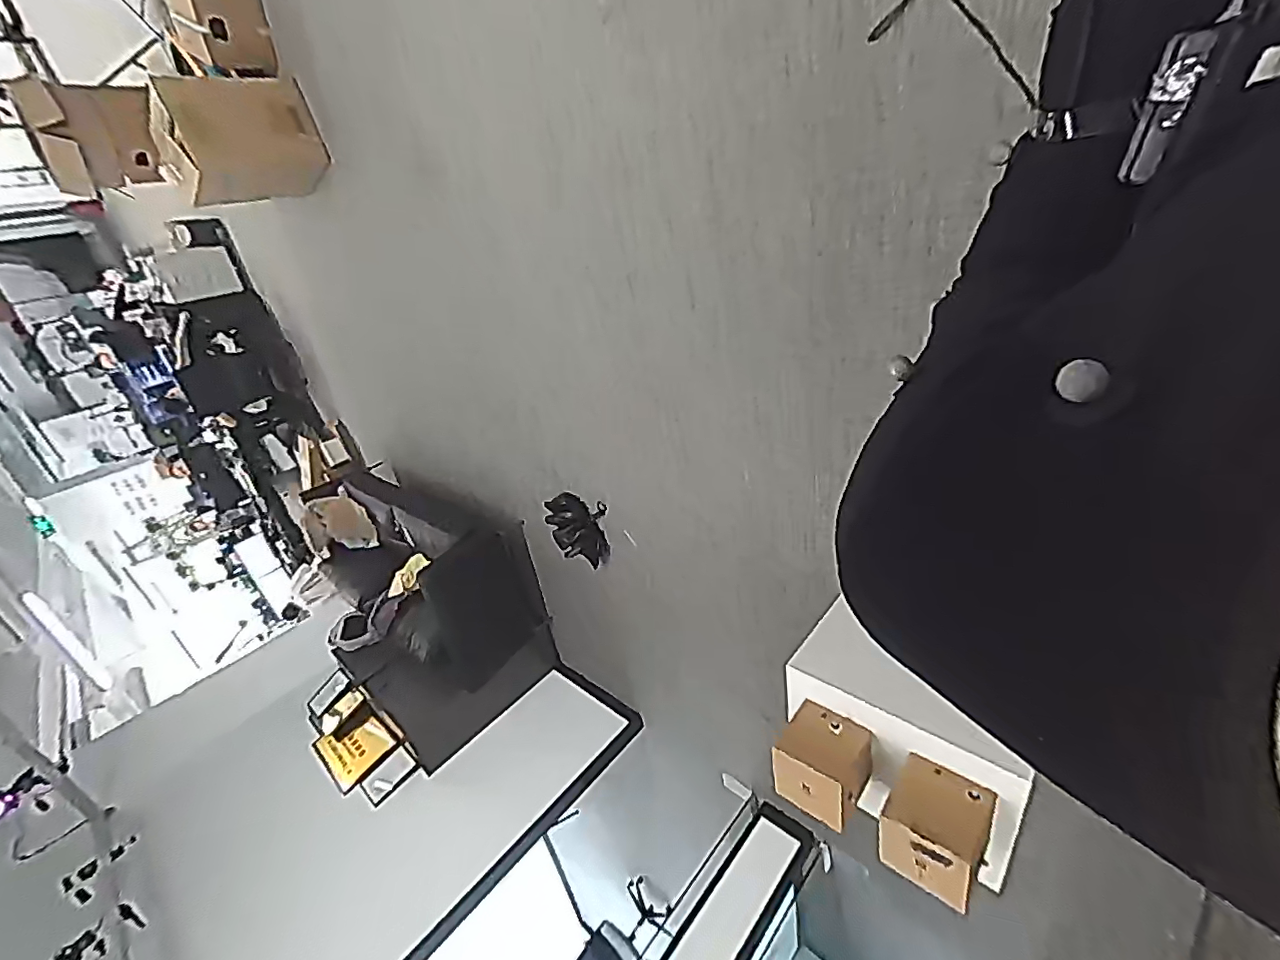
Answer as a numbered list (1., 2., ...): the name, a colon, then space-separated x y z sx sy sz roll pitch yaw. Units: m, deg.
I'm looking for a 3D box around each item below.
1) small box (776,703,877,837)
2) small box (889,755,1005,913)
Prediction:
1. small box: 0.436 0.663 1.256 0.168 0.176 0.179 13 124 42
2. small box: 0.624 0.707 1.101 0.168 0.176 0.179 14 127 43
